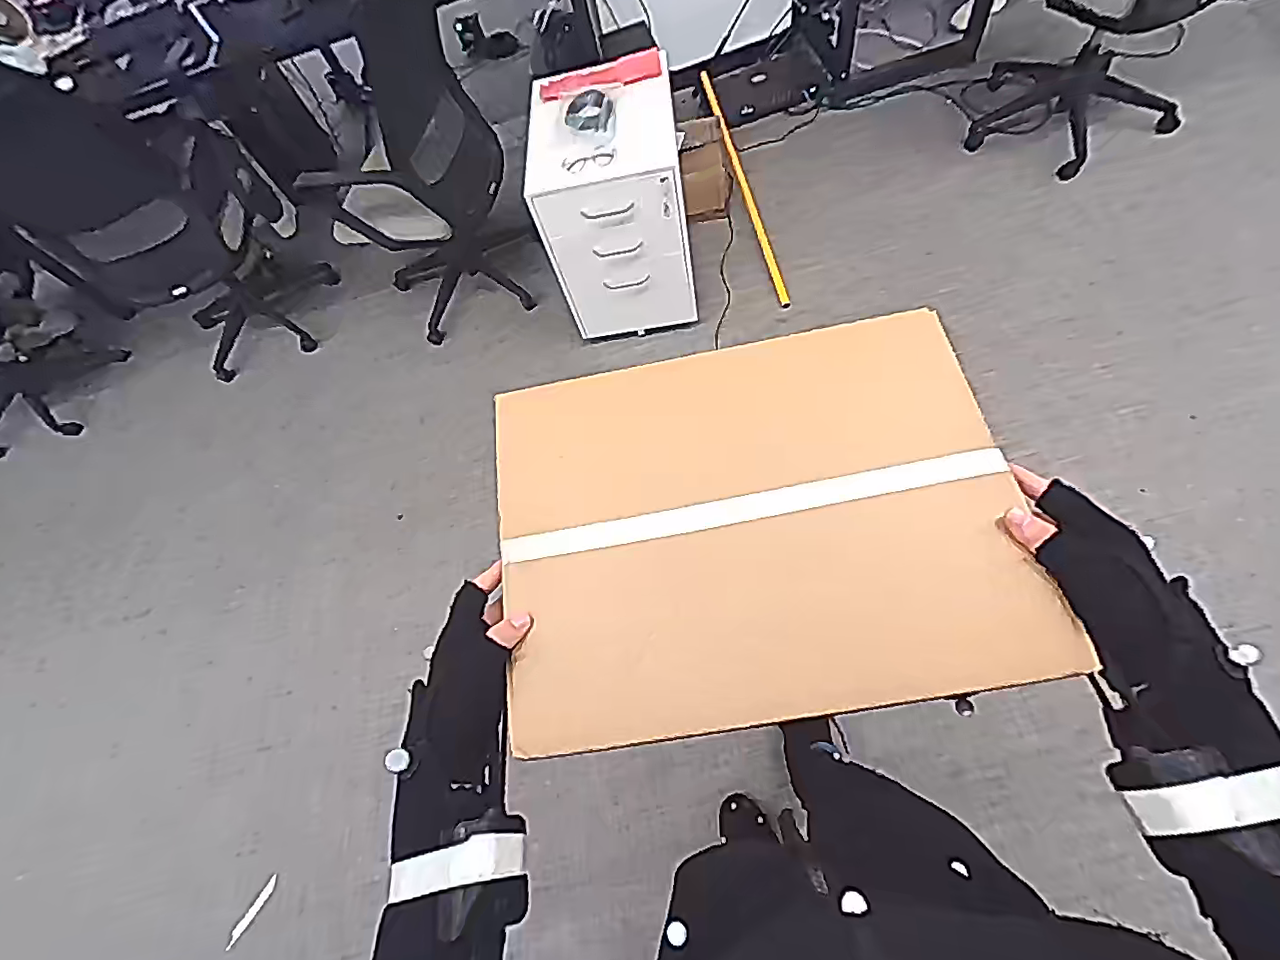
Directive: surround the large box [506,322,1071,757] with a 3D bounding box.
[{"bbox_3d":[0.108,0.085,0.582,0.408,0.320,0.320,-10,65,4],"label":"large box"}]
